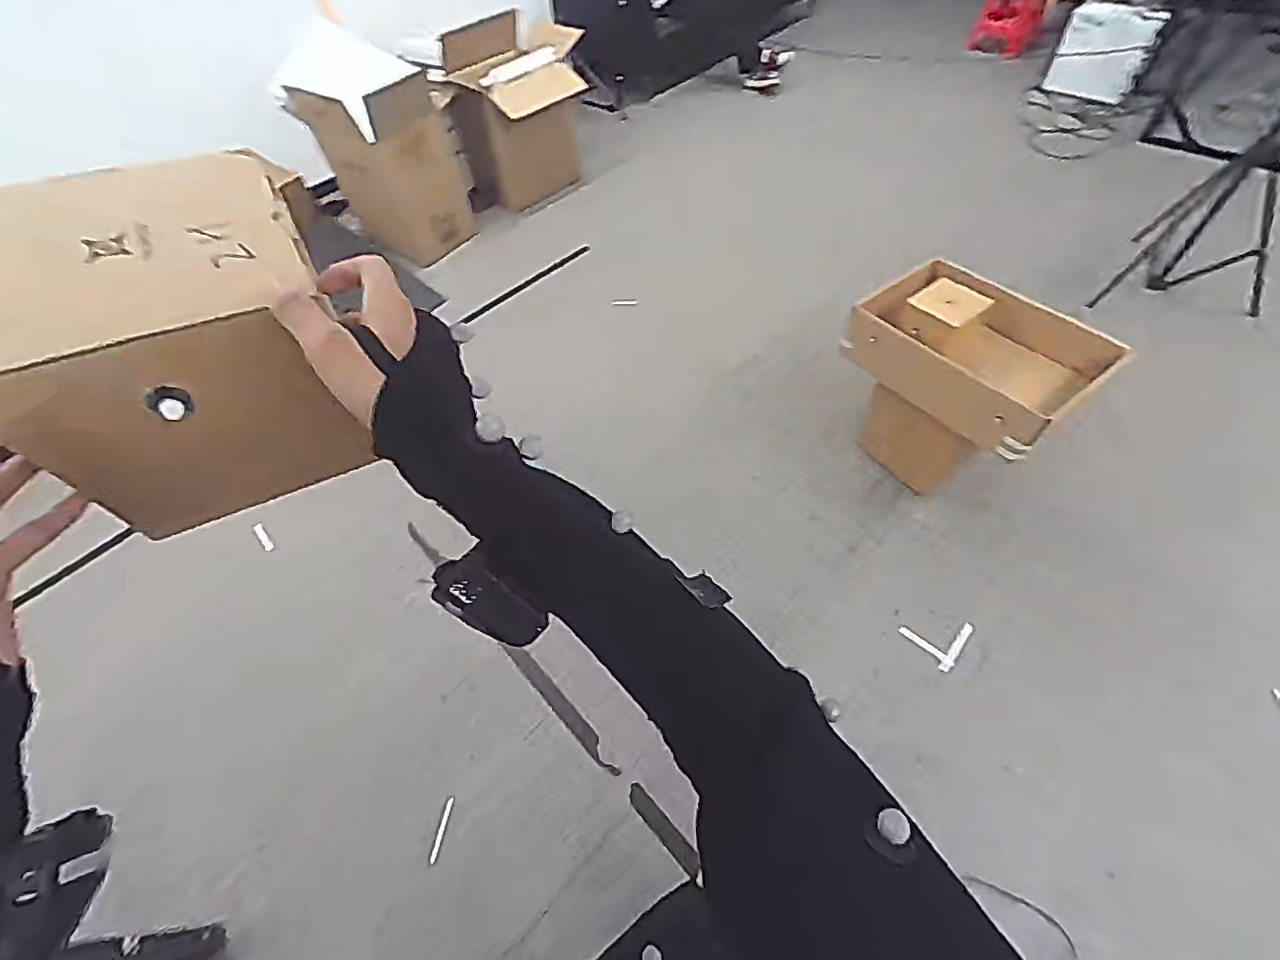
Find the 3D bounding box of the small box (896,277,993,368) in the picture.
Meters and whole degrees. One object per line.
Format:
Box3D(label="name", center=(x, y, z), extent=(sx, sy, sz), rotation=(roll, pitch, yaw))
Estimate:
Box3D(label="small box", center=(0.890, -0.462, 1.603), extent=(0.179, 0.176, 0.168), rotation=(-33, 57, -18))
